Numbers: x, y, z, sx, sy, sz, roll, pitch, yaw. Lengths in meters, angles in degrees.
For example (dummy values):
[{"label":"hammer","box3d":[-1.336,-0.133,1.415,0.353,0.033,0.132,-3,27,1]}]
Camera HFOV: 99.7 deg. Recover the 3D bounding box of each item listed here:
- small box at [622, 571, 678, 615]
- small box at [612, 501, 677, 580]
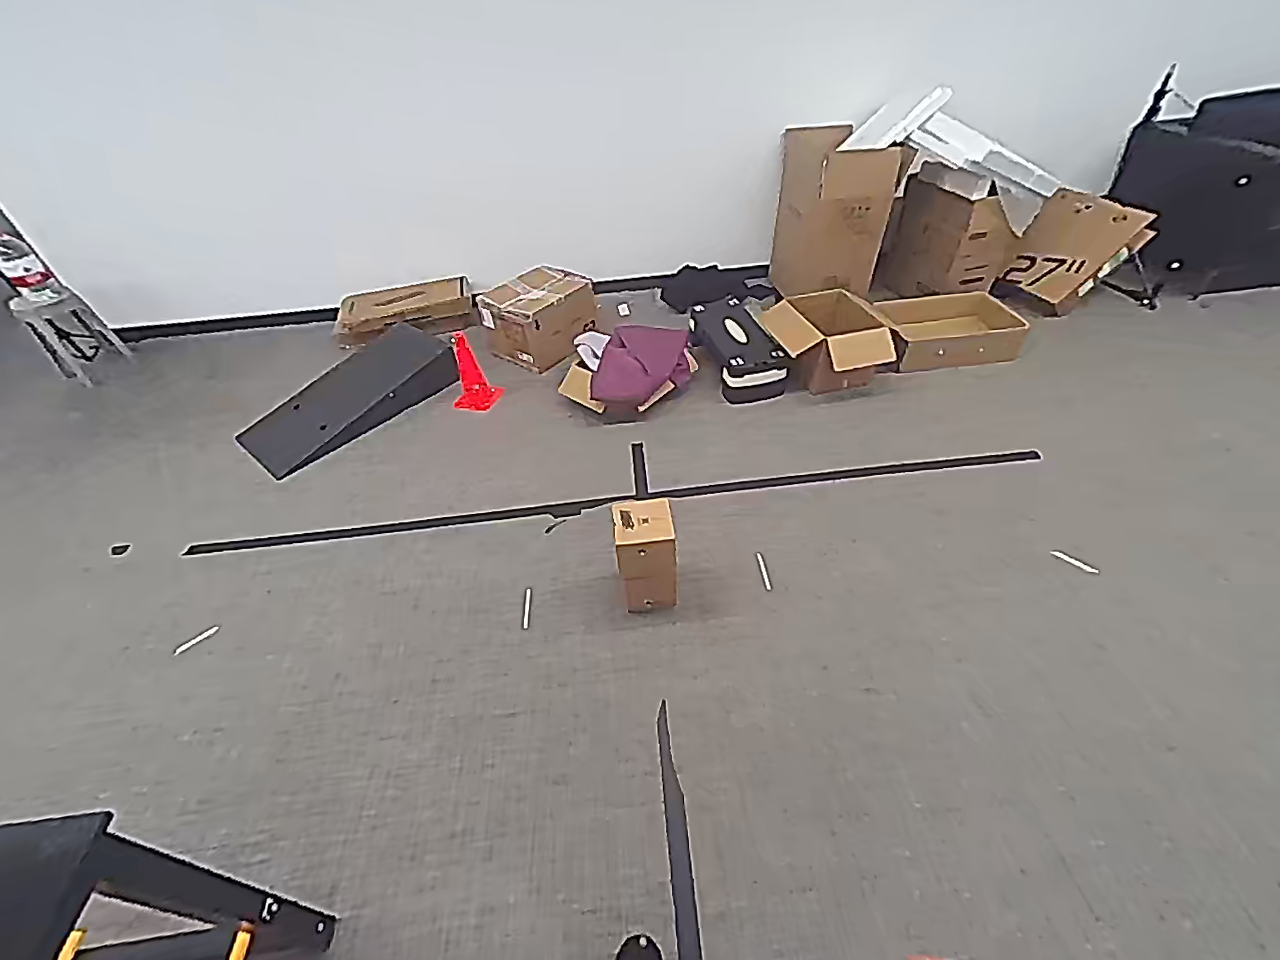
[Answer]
[{"label":"small box","box3d":[0.025,0.308,1.751,0.168,0.176,0.179,-10,44,-4]},{"label":"small box","box3d":[0.014,0.187,1.639,0.179,0.176,0.168,-7,43,-2]}]
